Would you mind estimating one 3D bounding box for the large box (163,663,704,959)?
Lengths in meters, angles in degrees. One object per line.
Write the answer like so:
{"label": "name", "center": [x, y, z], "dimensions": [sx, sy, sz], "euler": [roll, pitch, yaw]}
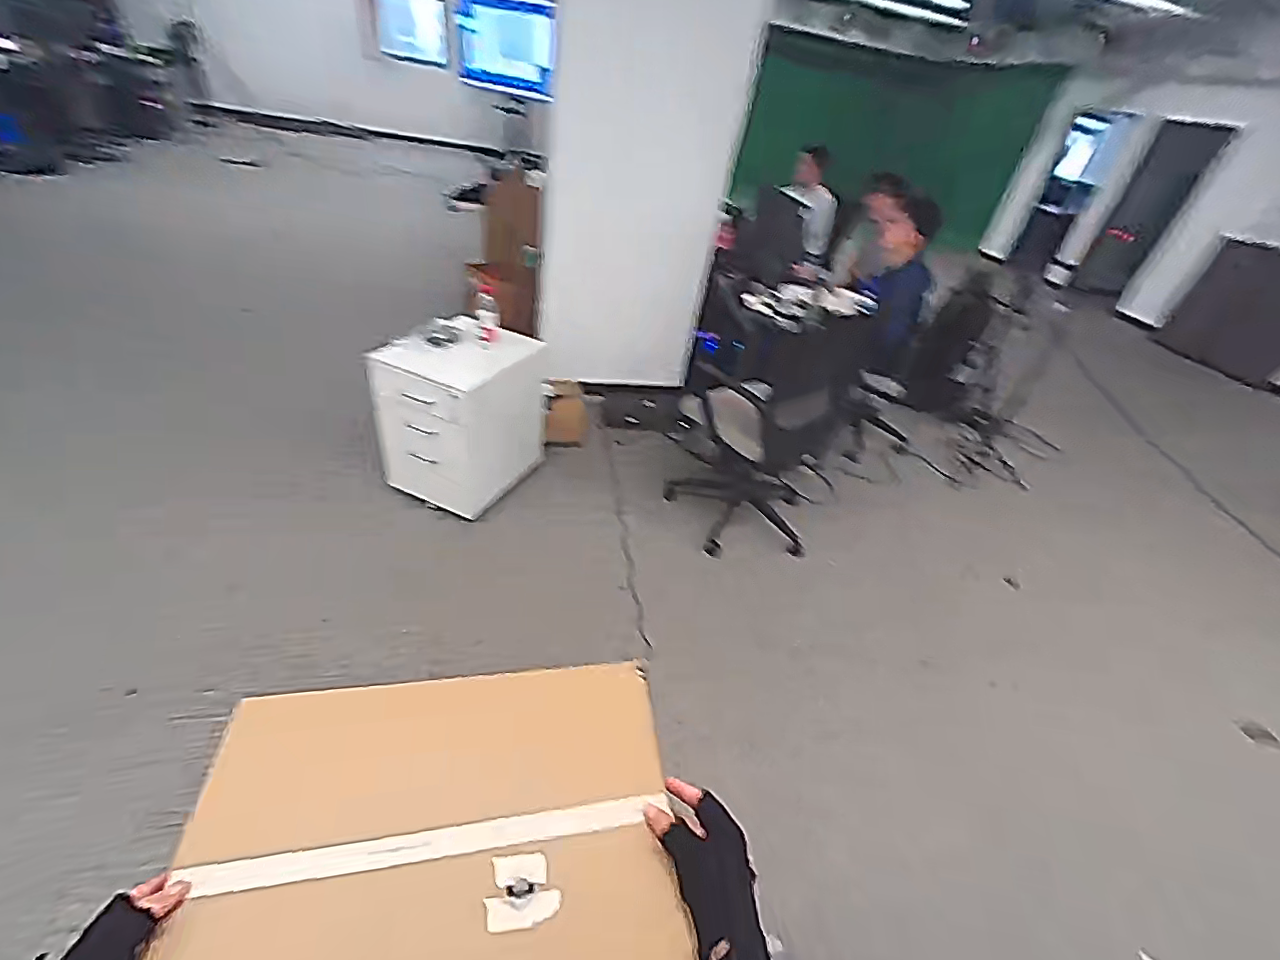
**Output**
{"label": "large box", "center": [-0.188, 0.431, 0.569], "dimensions": [0.408, 0.320, 0.320], "euler": [0, 40, -14]}
